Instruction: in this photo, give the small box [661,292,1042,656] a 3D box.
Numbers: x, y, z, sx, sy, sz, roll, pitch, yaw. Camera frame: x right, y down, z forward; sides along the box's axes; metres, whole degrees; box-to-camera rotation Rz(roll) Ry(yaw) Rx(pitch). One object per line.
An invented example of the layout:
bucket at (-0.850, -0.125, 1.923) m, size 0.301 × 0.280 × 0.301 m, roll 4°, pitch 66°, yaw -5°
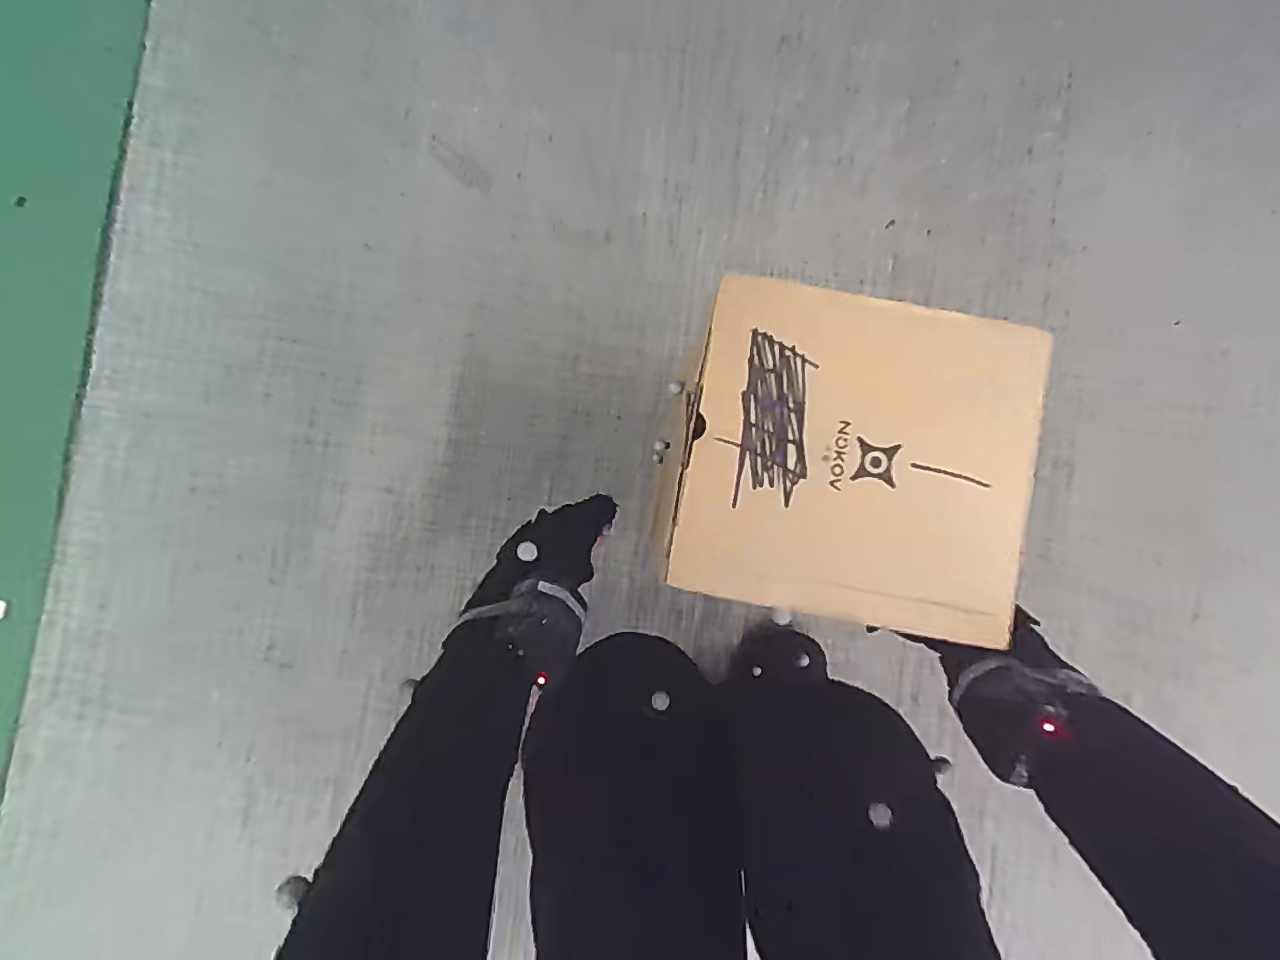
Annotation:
small box at (0.112, 0.000, 0.359) m, size 0.179 × 0.176 × 0.168 m, roll 11°, pitch 86°, yaw 1°
